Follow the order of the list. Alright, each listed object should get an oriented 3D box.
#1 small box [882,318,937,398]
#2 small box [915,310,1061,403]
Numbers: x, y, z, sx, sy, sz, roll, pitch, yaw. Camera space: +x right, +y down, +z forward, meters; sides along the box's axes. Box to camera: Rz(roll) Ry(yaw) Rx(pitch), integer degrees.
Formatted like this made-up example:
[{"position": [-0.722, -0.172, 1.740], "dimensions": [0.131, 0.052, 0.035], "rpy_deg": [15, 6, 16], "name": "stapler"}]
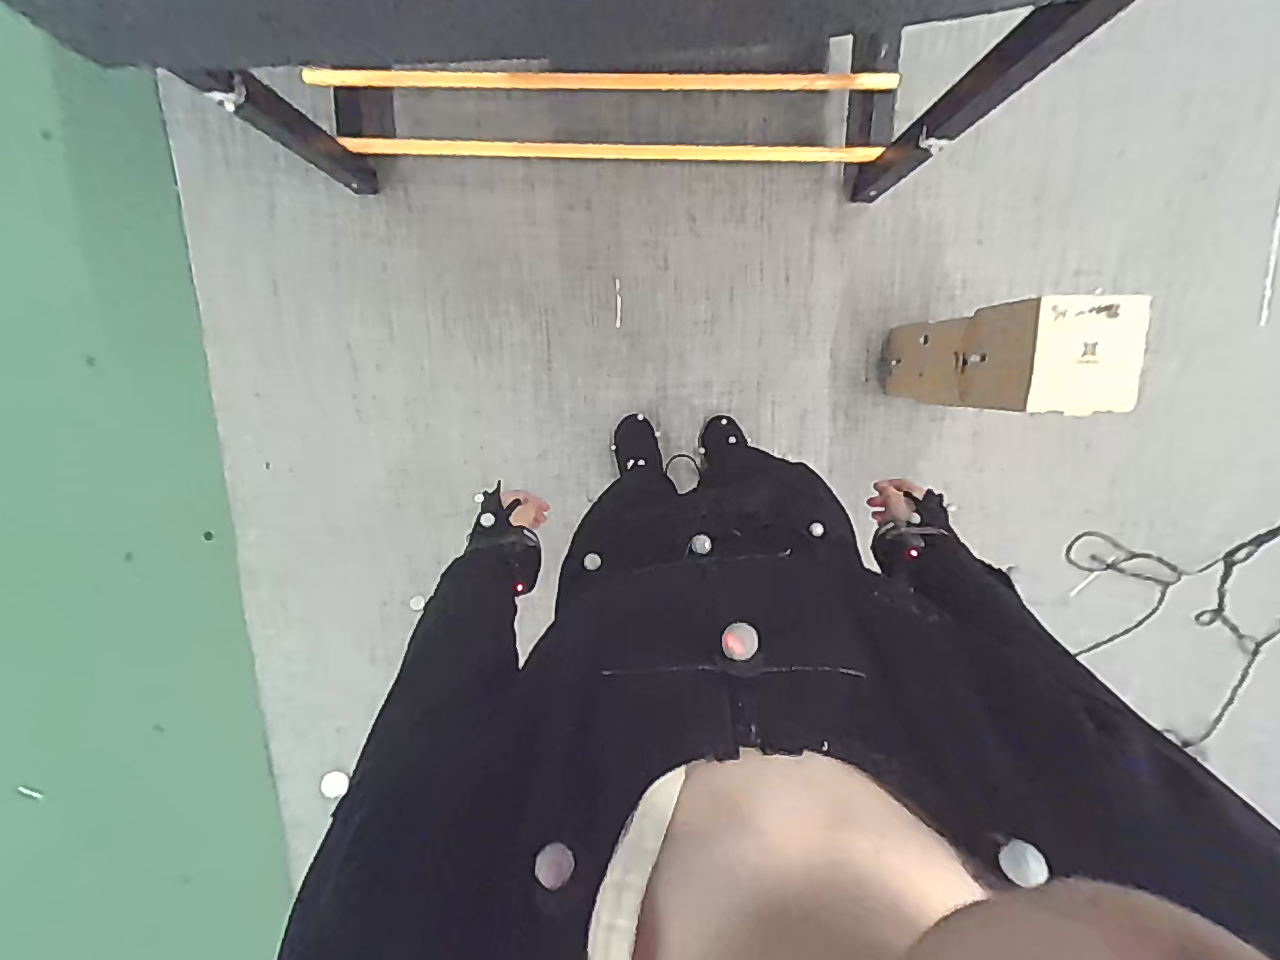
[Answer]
[{"position": [0.676, -0.268, 1.215], "dimensions": [0.179, 0.176, 0.168], "rpy_deg": [1, 100, -1], "name": "small box"}, {"position": [0.665, -0.235, 1.055], "dimensions": [0.179, 0.176, 0.168], "rpy_deg": [-1, 101, -1], "name": "small box"}]
